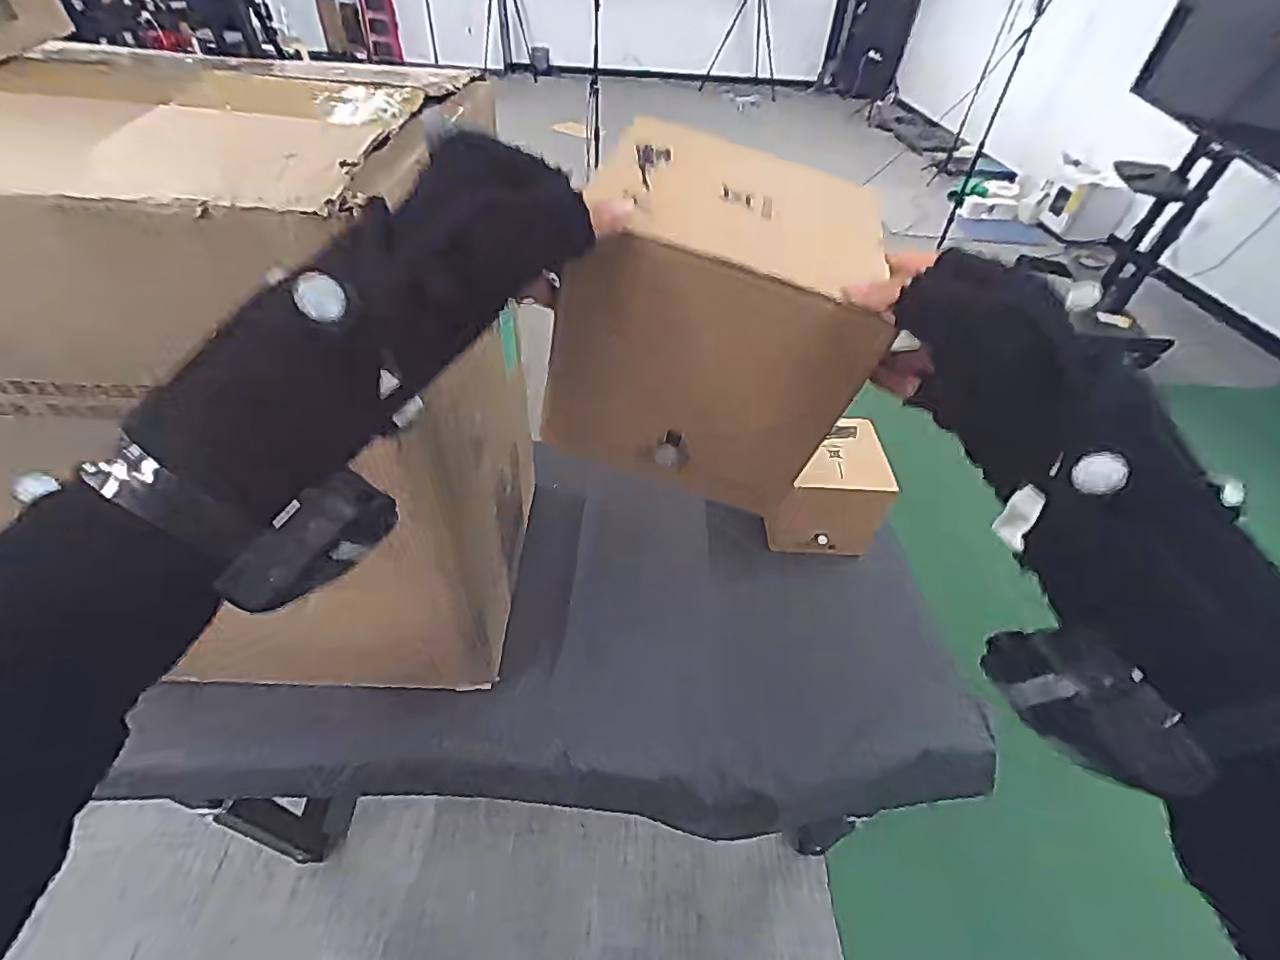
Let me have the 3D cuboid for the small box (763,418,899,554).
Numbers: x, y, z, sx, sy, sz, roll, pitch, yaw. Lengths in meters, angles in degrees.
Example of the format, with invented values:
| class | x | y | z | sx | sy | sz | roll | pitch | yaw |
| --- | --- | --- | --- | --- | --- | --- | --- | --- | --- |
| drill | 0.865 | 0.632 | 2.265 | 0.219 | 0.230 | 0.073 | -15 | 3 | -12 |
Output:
| class | x | y | z | sx | sy | sz | roll | pitch | yaw |
| --- | --- | --- | --- | --- | --- | --- | --- | --- | --- |
| small box | 0.319 | 0.007 | 0.949 | 0.168 | 0.176 | 0.179 | 3 | 46 | 0 |

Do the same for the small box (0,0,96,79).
| class | x | y | z | sx | sy | sz | roll | pitch | yaw |
| --- | --- | --- | --- | --- | --- | --- | --- | --- | --- |
| small box | -0.545 | -0.379 | 0.354 | 0.179 | 0.176 | 0.168 | -1 | 51 | -6 |

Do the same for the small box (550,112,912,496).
| class | x | y | z | sx | sy | sz | roll | pitch | yaw |
| --- | --- | --- | --- | --- | --- | --- | --- | --- | --- |
| small box | 0.051 | -0.112 | 0.376 | 0.179 | 0.176 | 0.168 | 18 | 48 | -3 |
